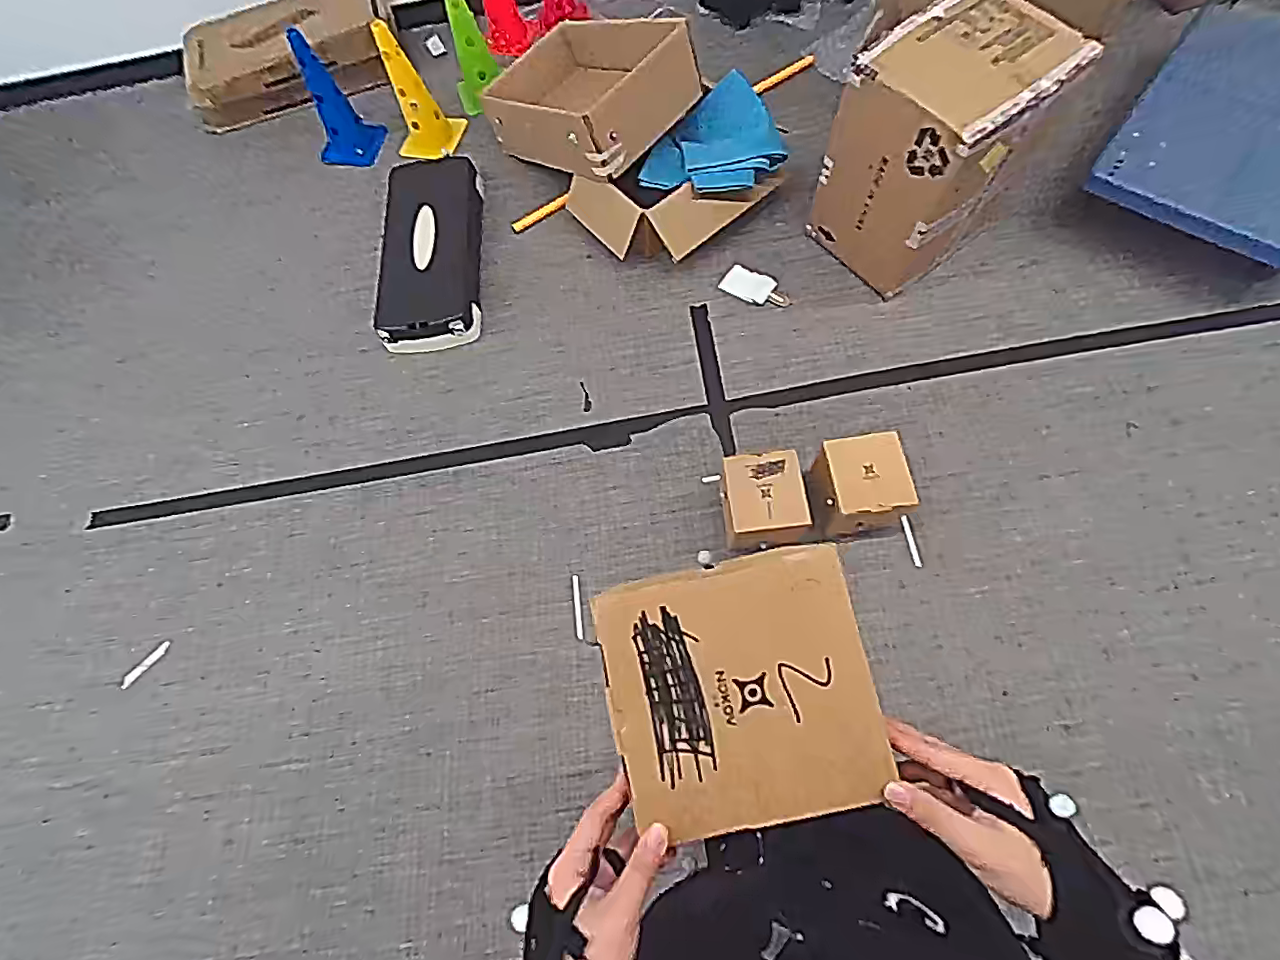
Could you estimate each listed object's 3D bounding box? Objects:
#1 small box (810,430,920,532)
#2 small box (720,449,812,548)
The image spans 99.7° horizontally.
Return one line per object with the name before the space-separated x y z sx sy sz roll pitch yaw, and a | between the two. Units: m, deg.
small box | 0.503 0.007 1.241 0.168 0.176 0.179 -9 69 2
small box | 0.280 0.047 1.243 0.168 0.176 0.179 -7 70 3
